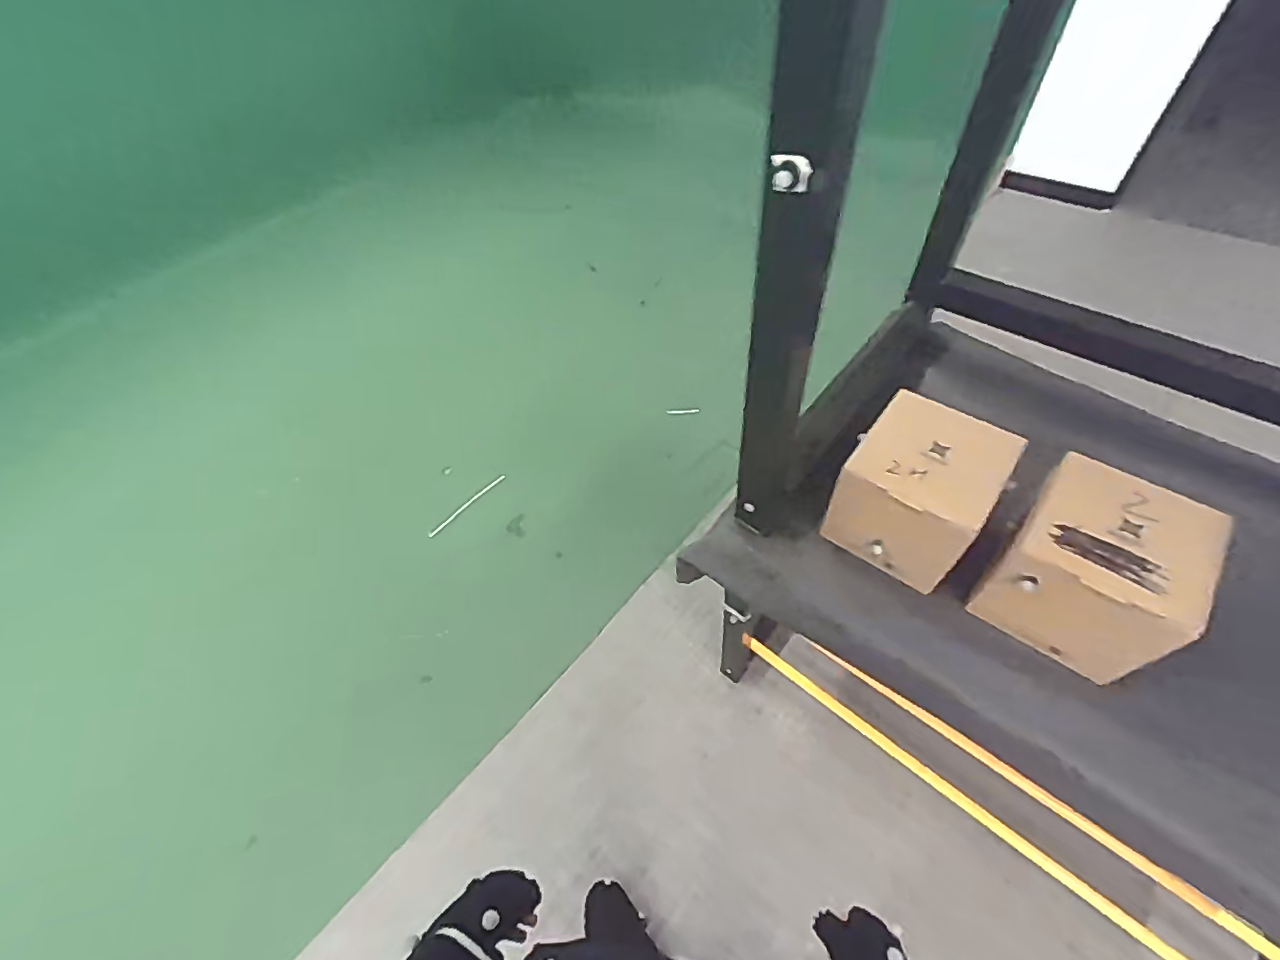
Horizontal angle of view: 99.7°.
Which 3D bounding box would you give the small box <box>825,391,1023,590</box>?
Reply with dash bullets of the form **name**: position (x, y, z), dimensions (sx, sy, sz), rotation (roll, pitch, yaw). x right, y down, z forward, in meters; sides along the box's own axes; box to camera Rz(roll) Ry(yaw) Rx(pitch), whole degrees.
- **small box**: position (0.379, 0.016, 0.750), dimensions (0.168, 0.176, 0.179), rotation (31, 63, 25)
